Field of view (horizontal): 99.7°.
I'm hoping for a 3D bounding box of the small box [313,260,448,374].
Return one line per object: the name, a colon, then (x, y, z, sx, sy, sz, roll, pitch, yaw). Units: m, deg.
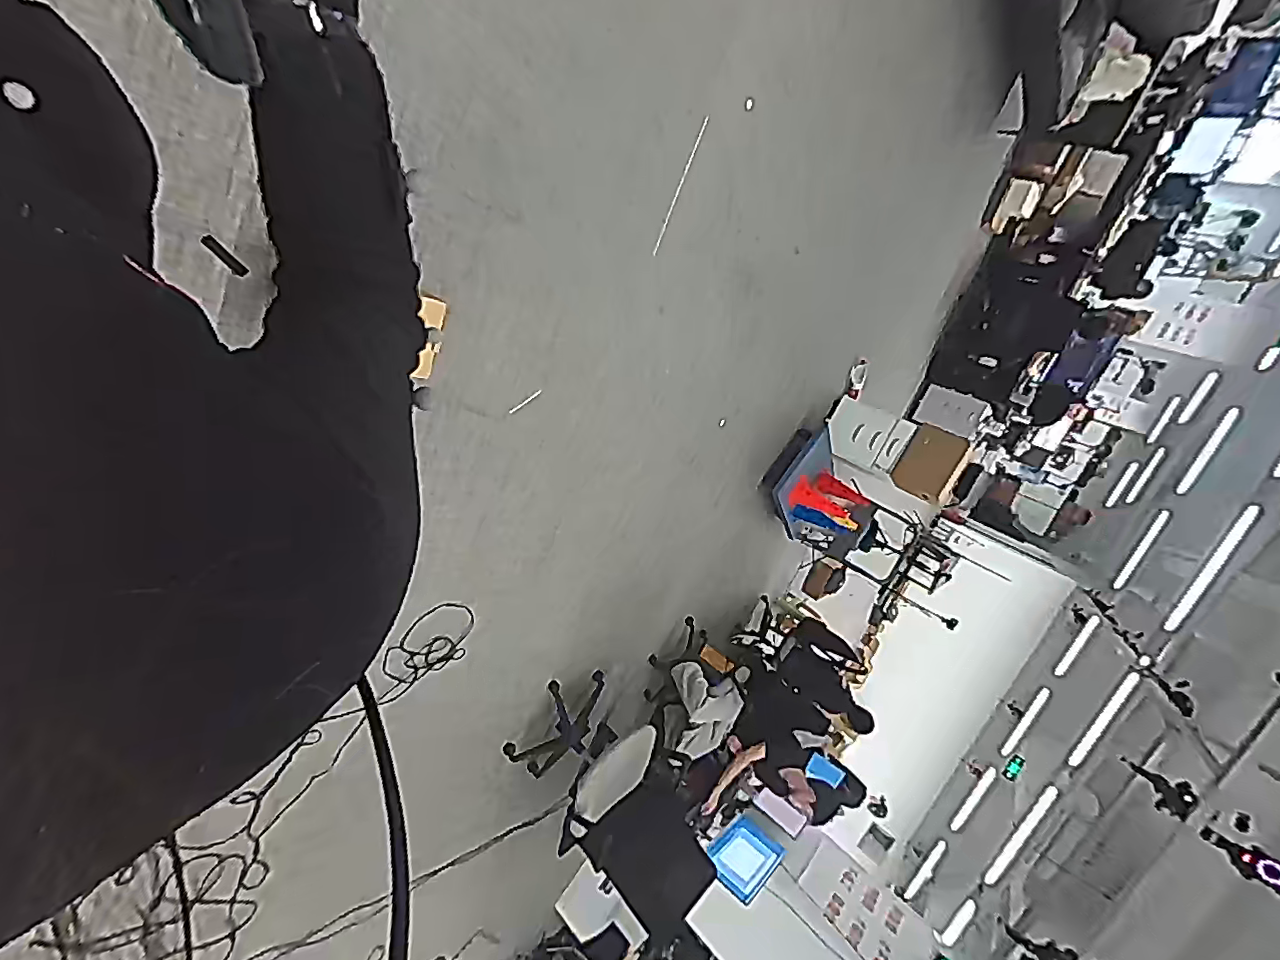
small box: (-0.529, -0.331, 1.101, 0.179, 0.176, 0.168, -1, 116, -52)
